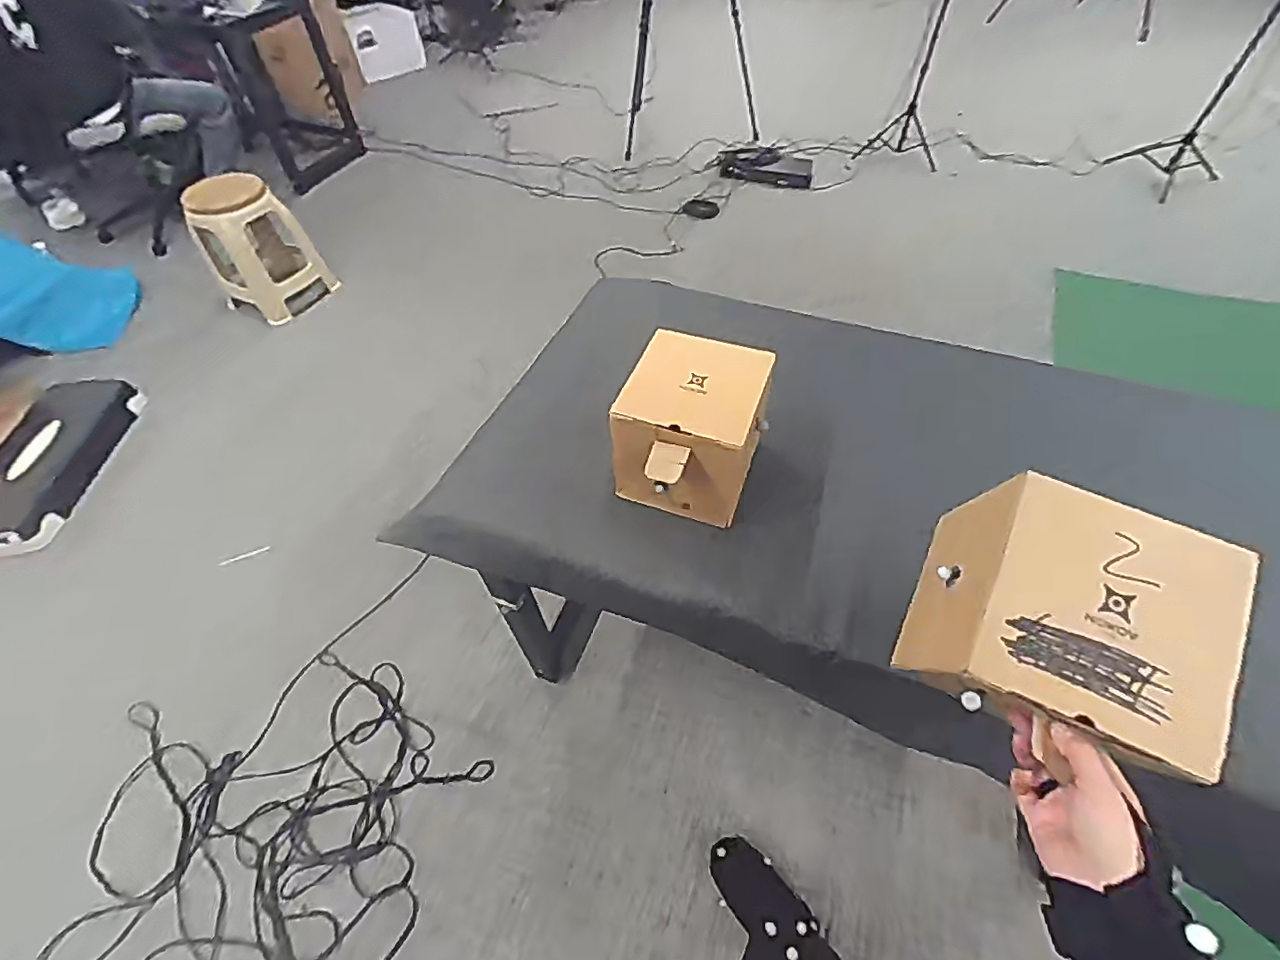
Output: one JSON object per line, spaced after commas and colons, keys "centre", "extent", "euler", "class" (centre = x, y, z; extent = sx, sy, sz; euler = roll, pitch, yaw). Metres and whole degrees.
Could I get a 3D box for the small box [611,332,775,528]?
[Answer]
{"centre": [0.070, -0.066, 0.730], "extent": [0.168, 0.176, 0.179], "euler": [16, 54, 13], "class": "small box"}
